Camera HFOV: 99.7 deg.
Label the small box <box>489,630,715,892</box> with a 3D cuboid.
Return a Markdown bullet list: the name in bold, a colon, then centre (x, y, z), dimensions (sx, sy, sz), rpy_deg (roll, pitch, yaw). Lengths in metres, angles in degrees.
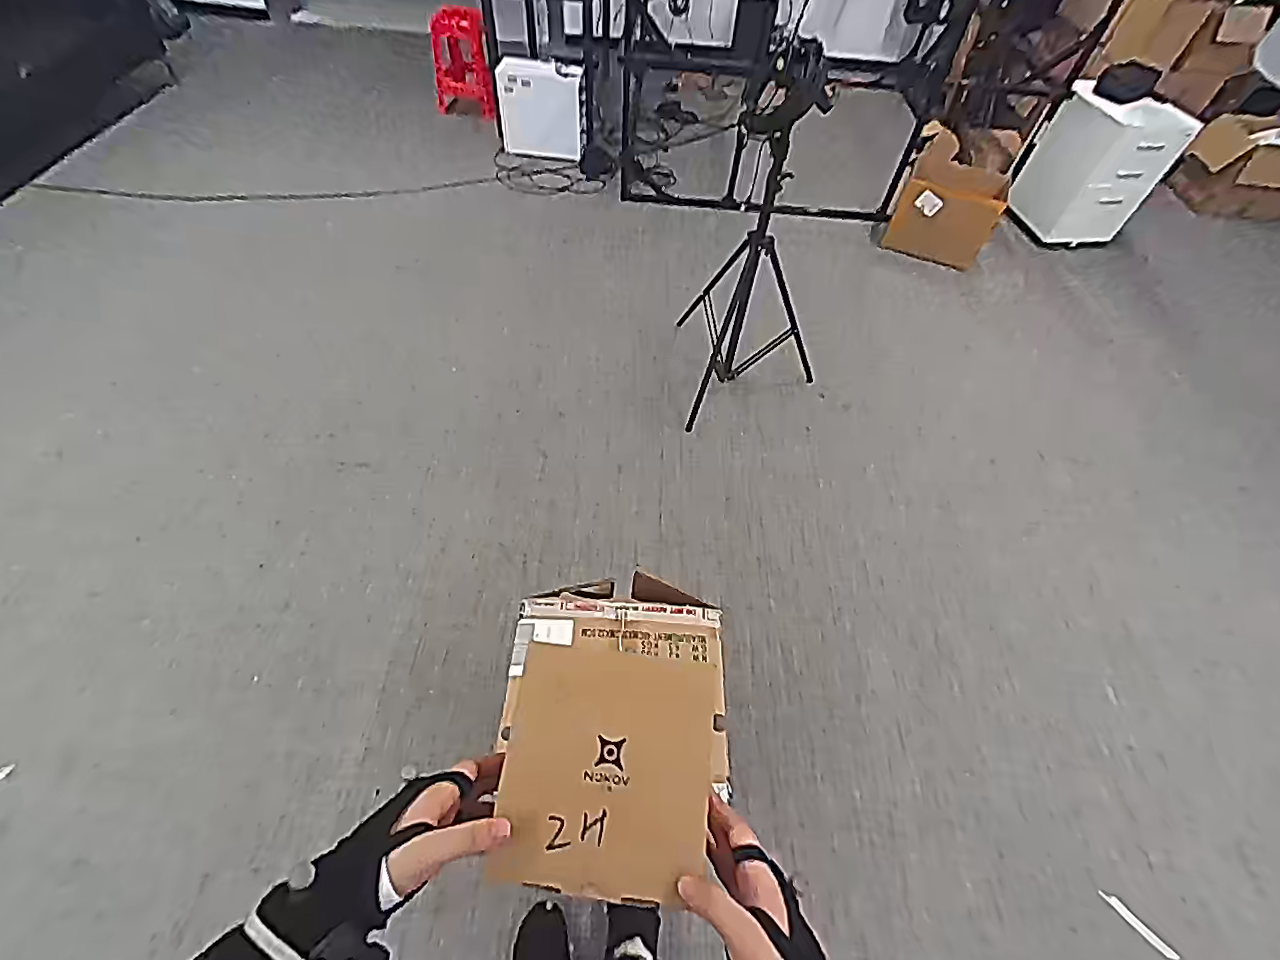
- **small box**: centre (-0.027, 0.255, 0.514), dimensions (0.168, 0.176, 0.179), rpy_deg (7, 64, 2)
